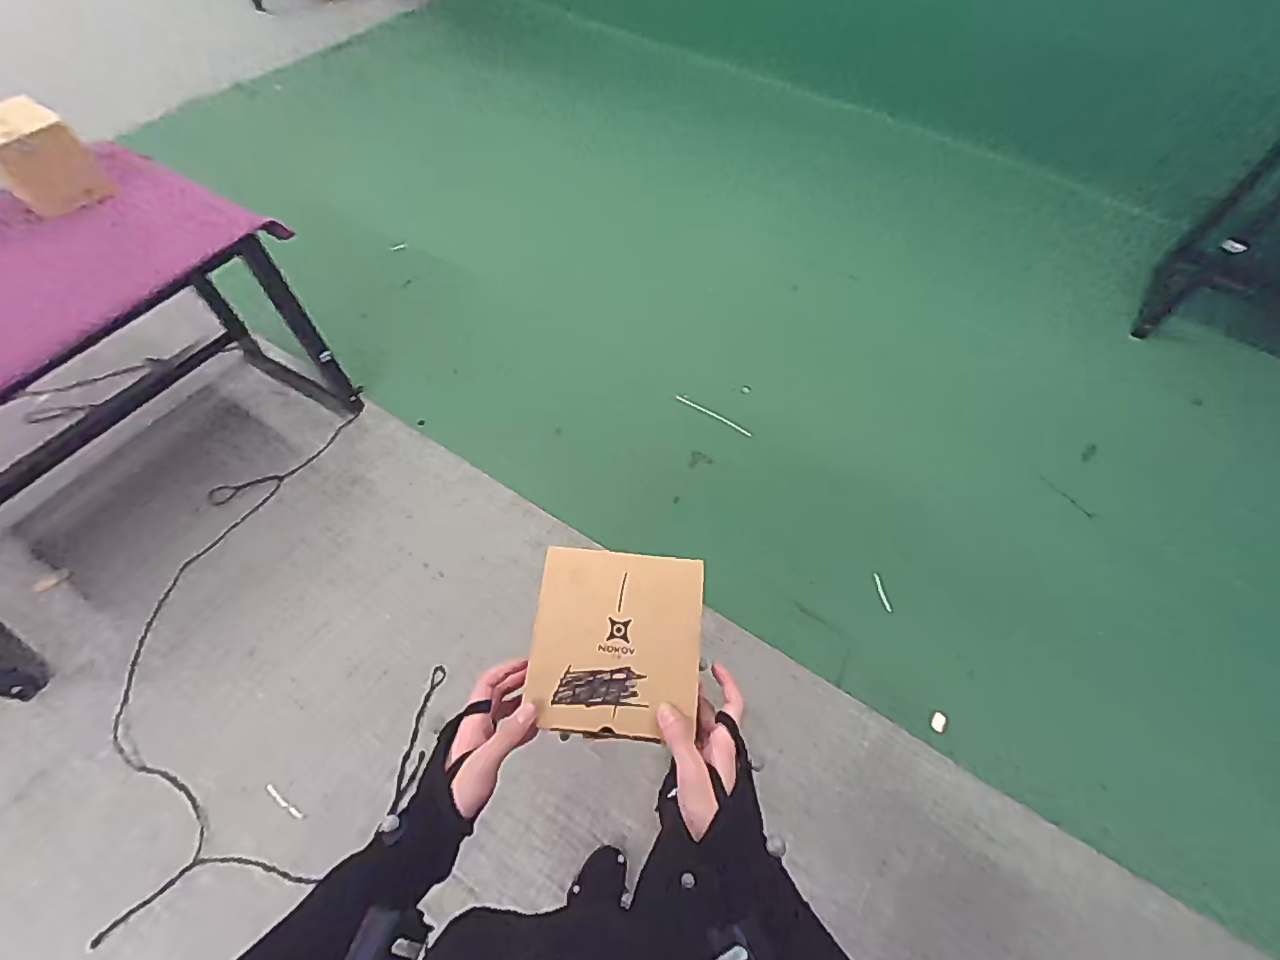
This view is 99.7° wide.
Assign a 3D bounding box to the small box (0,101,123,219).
[{"bbox_3d":[-1.412,-0.756,1.285,0.179,0.176,0.168,31,63,15],"label":"small box"}]

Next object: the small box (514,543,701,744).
[{"bbox_3d":[-0.029,0.184,0.598,0.168,0.176,0.179,6,65,0],"label":"small box"}]
